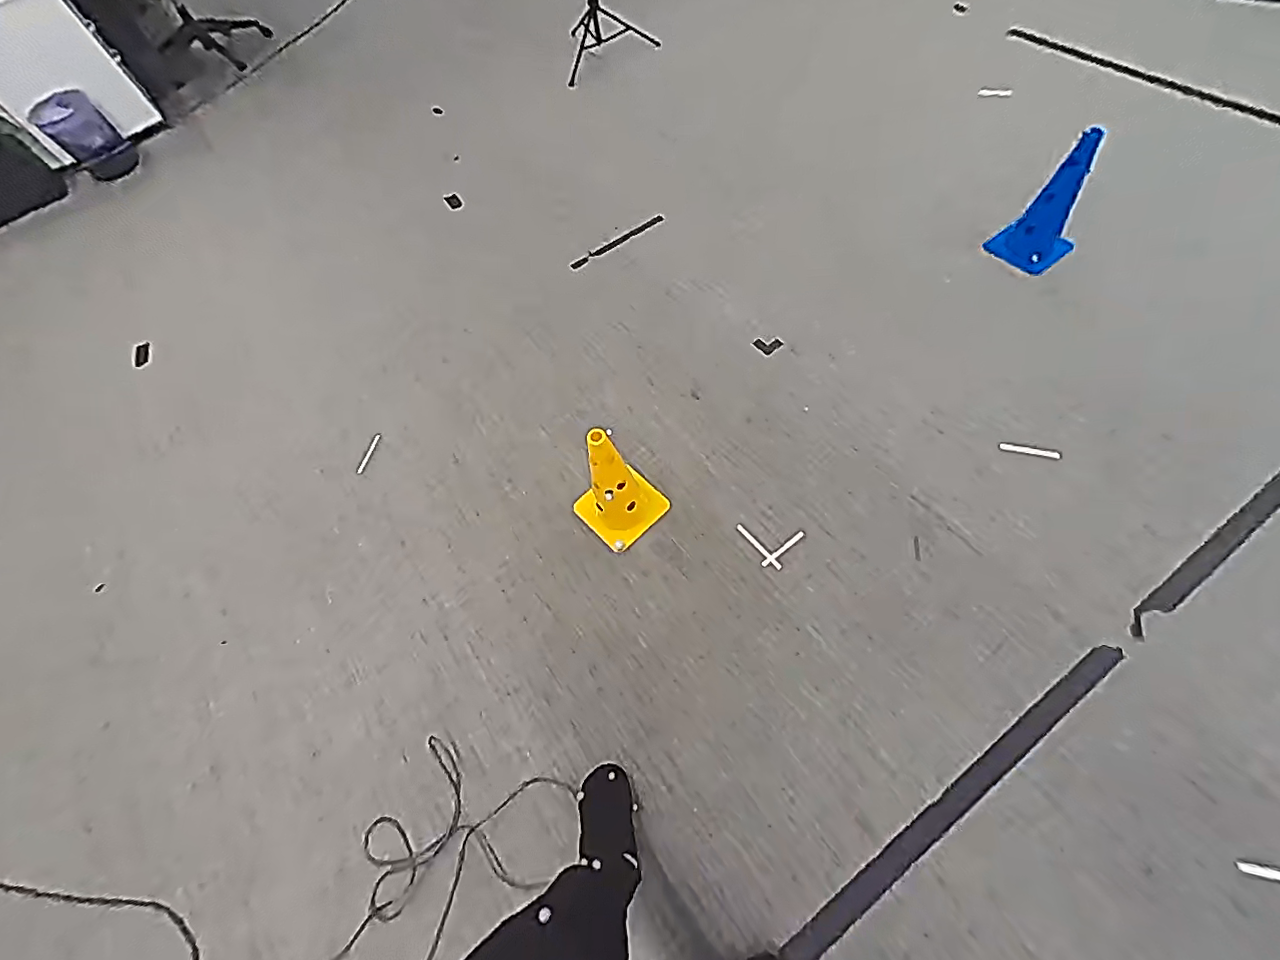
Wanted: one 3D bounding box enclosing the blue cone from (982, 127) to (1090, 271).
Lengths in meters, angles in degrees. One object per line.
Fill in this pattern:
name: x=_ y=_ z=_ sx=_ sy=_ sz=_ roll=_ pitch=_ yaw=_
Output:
blue cone: x=1.204 y=-0.827 z=1.586 sx=0.193 sy=0.380 sz=0.192 roll=-34 pitch=61 yaw=-11
